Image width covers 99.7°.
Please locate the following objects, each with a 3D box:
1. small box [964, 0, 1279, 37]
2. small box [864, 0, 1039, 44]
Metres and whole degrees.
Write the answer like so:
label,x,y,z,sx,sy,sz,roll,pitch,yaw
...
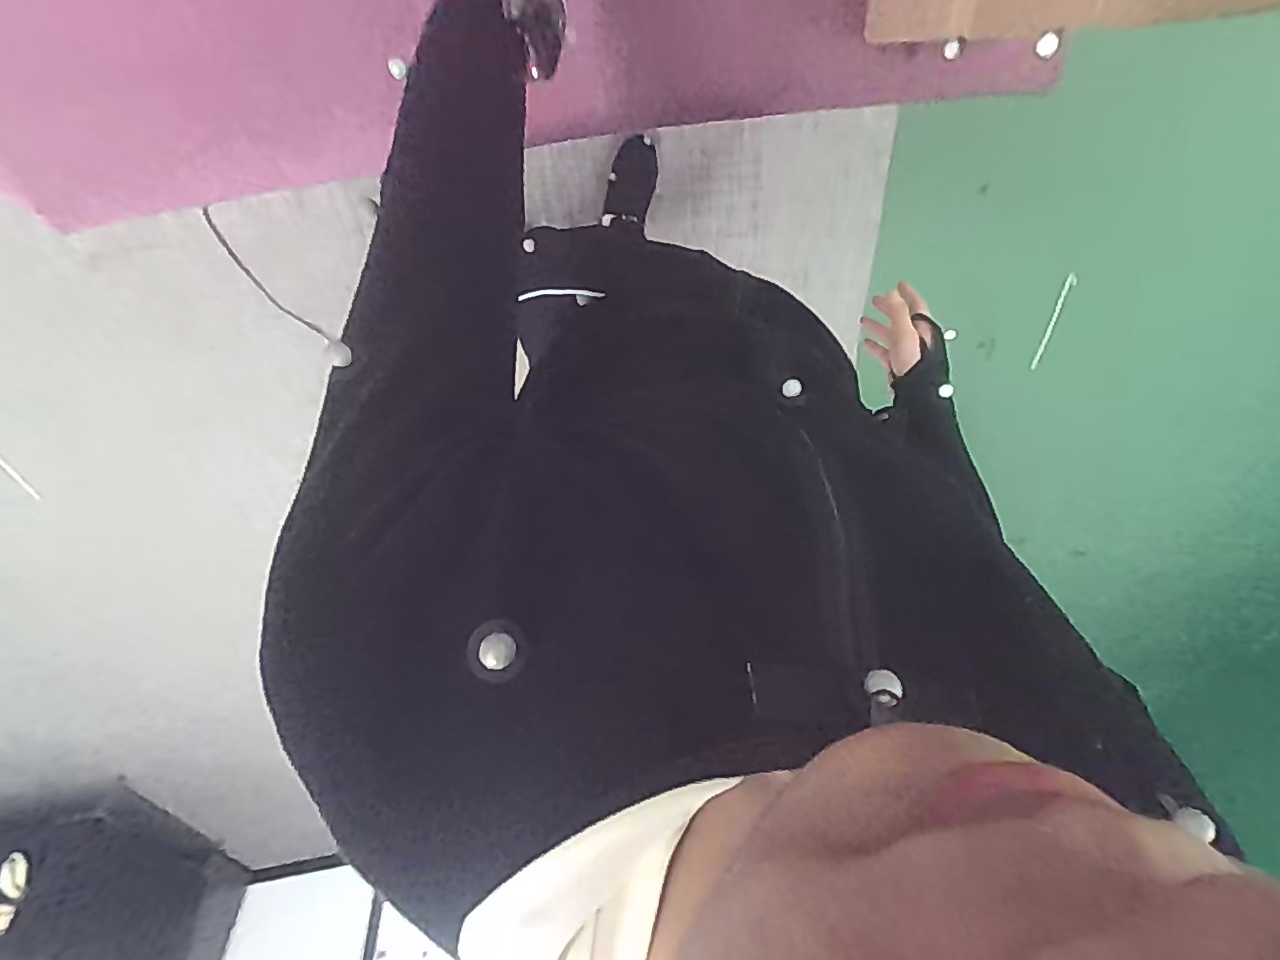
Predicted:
label,x,y,z,sx,sy,sz,roll,pitch,yaw
small box,0.372,-0.434,0.383,0.168,0.176,0.179,-5,127,-4
small box,0.347,-0.528,0.514,0.179,0.176,0.168,-6,126,-6
